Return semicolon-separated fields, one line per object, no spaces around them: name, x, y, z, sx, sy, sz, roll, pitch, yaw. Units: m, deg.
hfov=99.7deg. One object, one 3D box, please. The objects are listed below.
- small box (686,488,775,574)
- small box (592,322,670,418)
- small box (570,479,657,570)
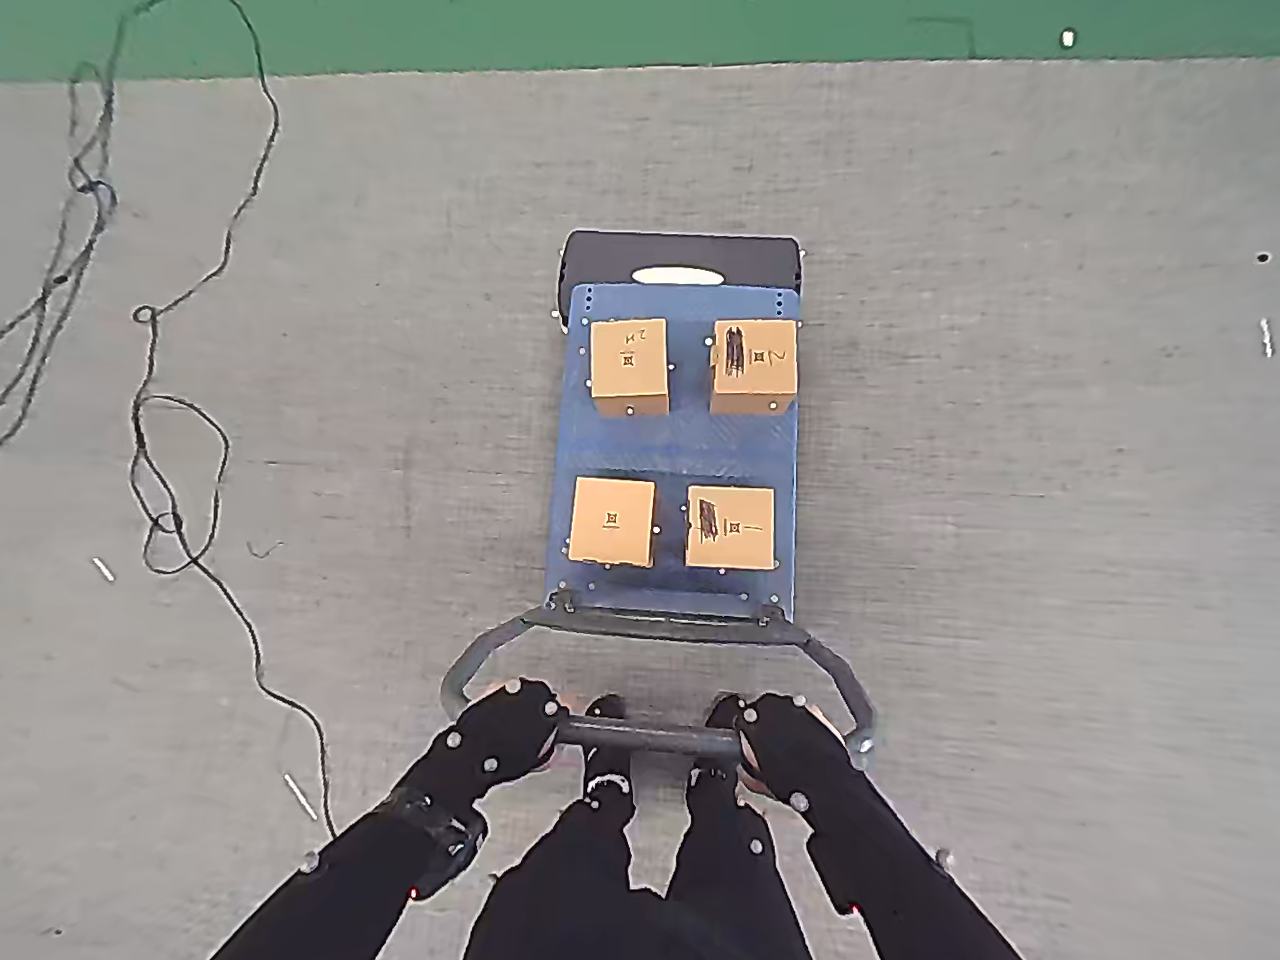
small box;0.190;0.115;1.171;0.179;0.176;0.168;3;81;4
small box;-0.016;-0.244;1.247;0.168;0.176;0.179;-1;80;3
small box;-0.052;0.102;1.192;0.168;0.176;0.179;5;81;4
